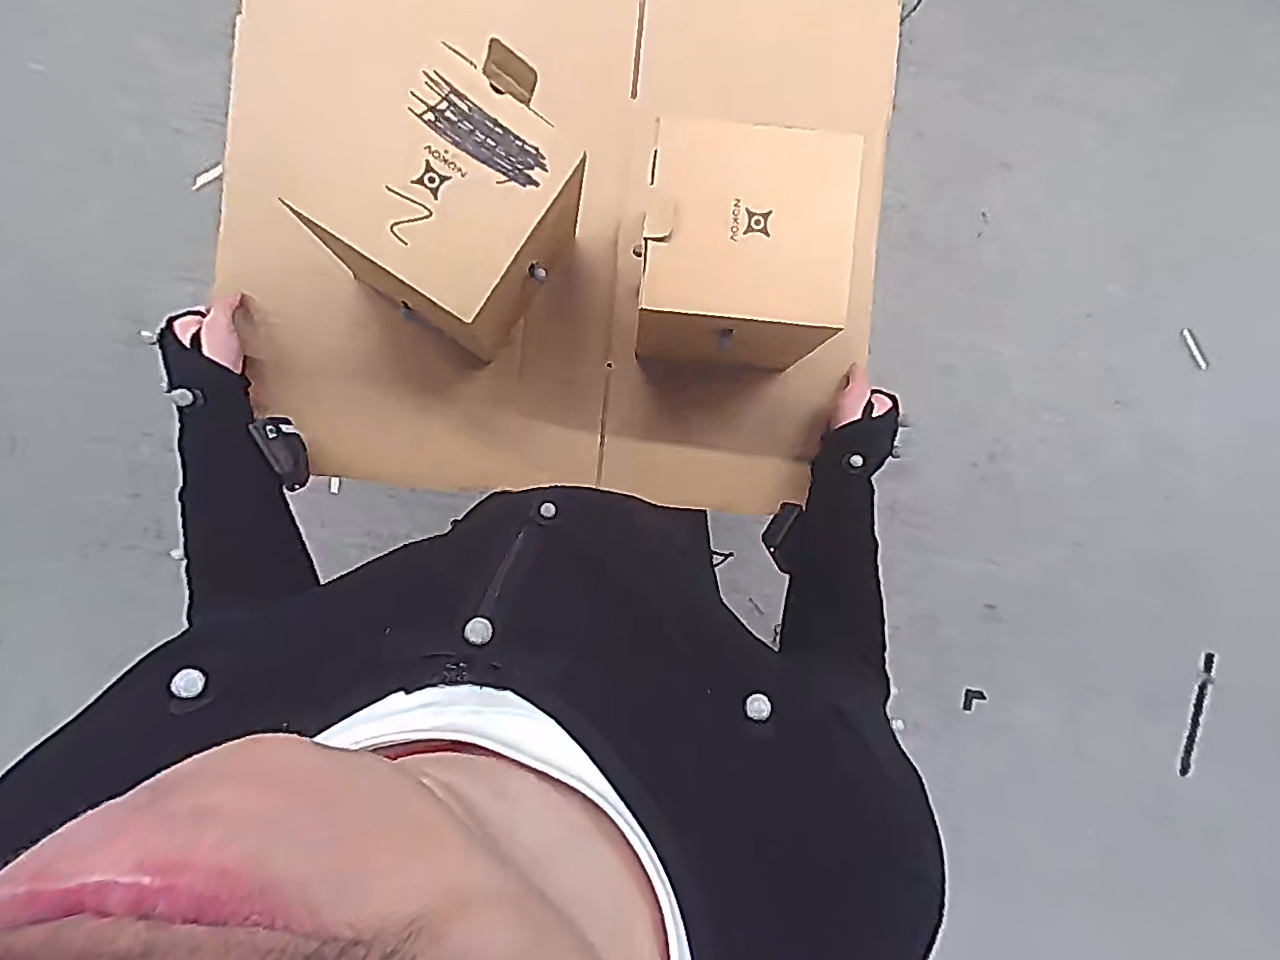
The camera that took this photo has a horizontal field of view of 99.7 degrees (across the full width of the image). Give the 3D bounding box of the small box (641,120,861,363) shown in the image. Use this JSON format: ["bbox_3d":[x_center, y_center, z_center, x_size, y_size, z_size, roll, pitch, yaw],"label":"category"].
[{"bbox_3d":[0.096,-0.220,0.545,0.179,0.176,0.168,6,90,0],"label":"small box"}]
